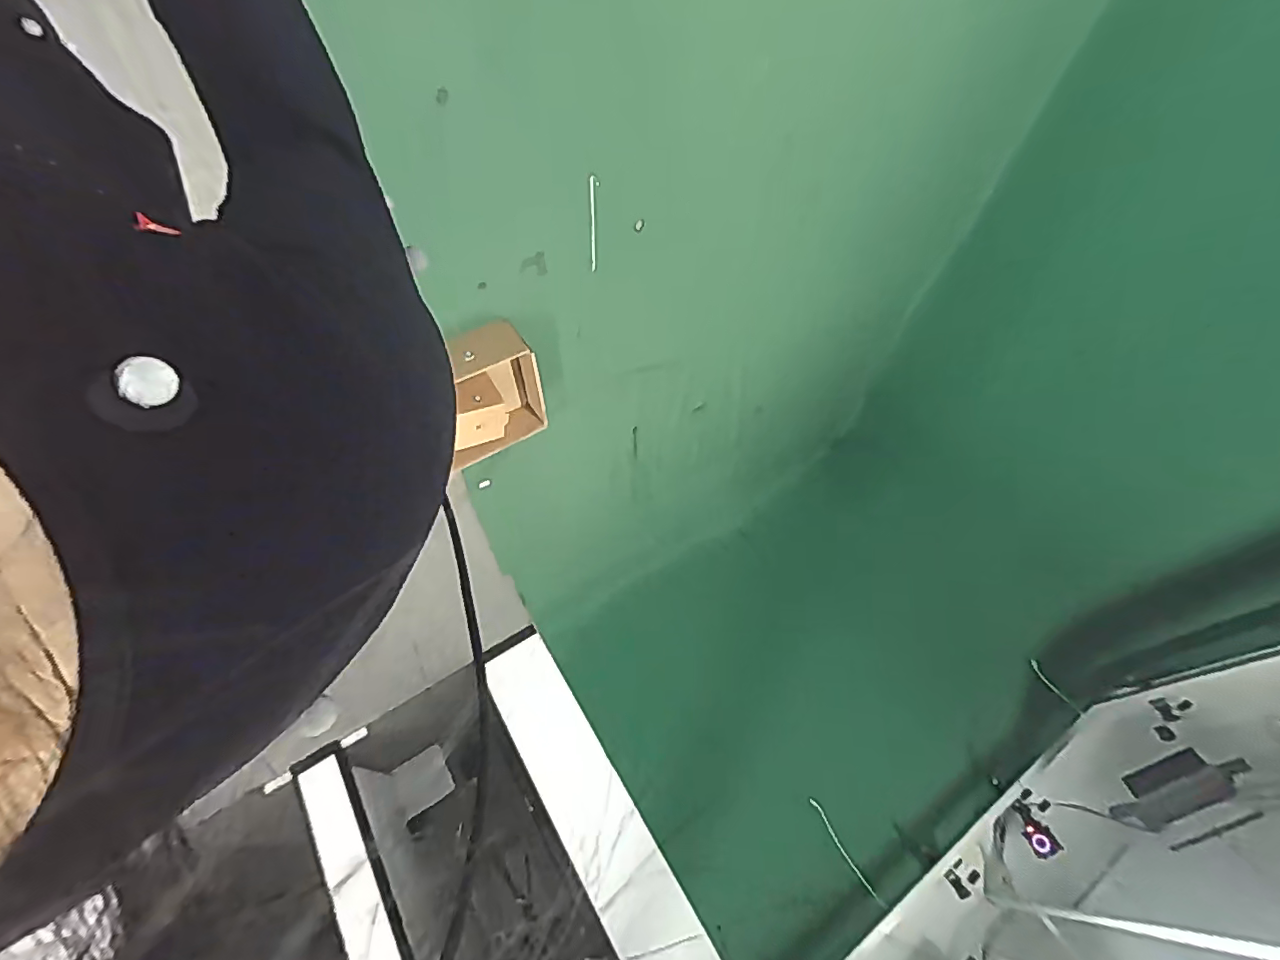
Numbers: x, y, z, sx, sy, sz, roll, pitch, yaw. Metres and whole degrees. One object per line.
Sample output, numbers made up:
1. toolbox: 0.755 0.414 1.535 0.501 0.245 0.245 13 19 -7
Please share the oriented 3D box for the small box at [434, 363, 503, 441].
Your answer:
1. small box: -0.571 -0.261 1.790 0.179 0.176 0.168 -21 151 -29
